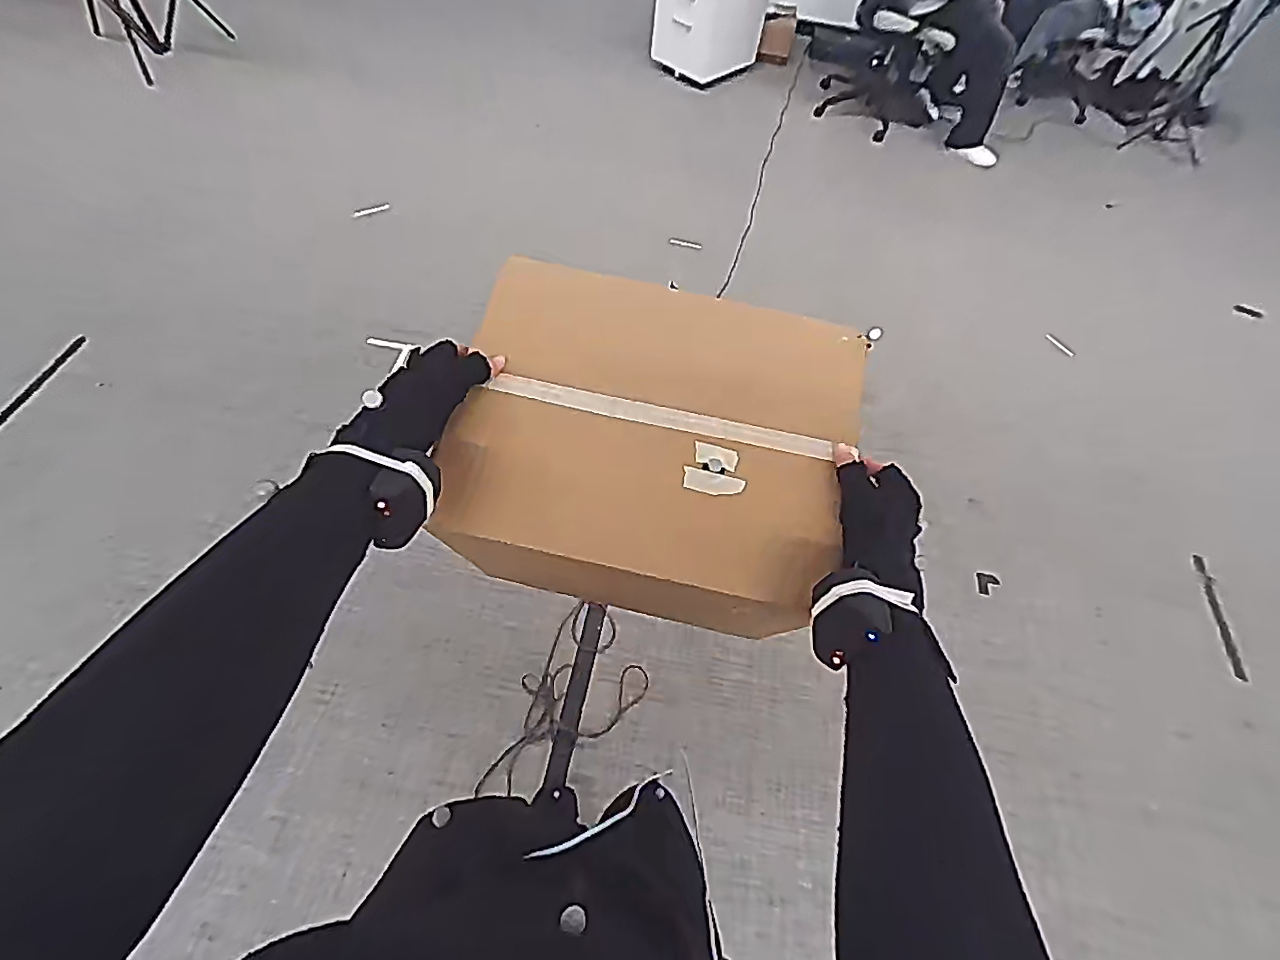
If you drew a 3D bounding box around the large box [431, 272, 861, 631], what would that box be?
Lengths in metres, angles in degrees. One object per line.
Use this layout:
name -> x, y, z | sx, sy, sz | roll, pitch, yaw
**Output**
large box -> 0.015, -0.010, 0.698 | 0.408, 0.320, 0.320 | 13, 71, 2
